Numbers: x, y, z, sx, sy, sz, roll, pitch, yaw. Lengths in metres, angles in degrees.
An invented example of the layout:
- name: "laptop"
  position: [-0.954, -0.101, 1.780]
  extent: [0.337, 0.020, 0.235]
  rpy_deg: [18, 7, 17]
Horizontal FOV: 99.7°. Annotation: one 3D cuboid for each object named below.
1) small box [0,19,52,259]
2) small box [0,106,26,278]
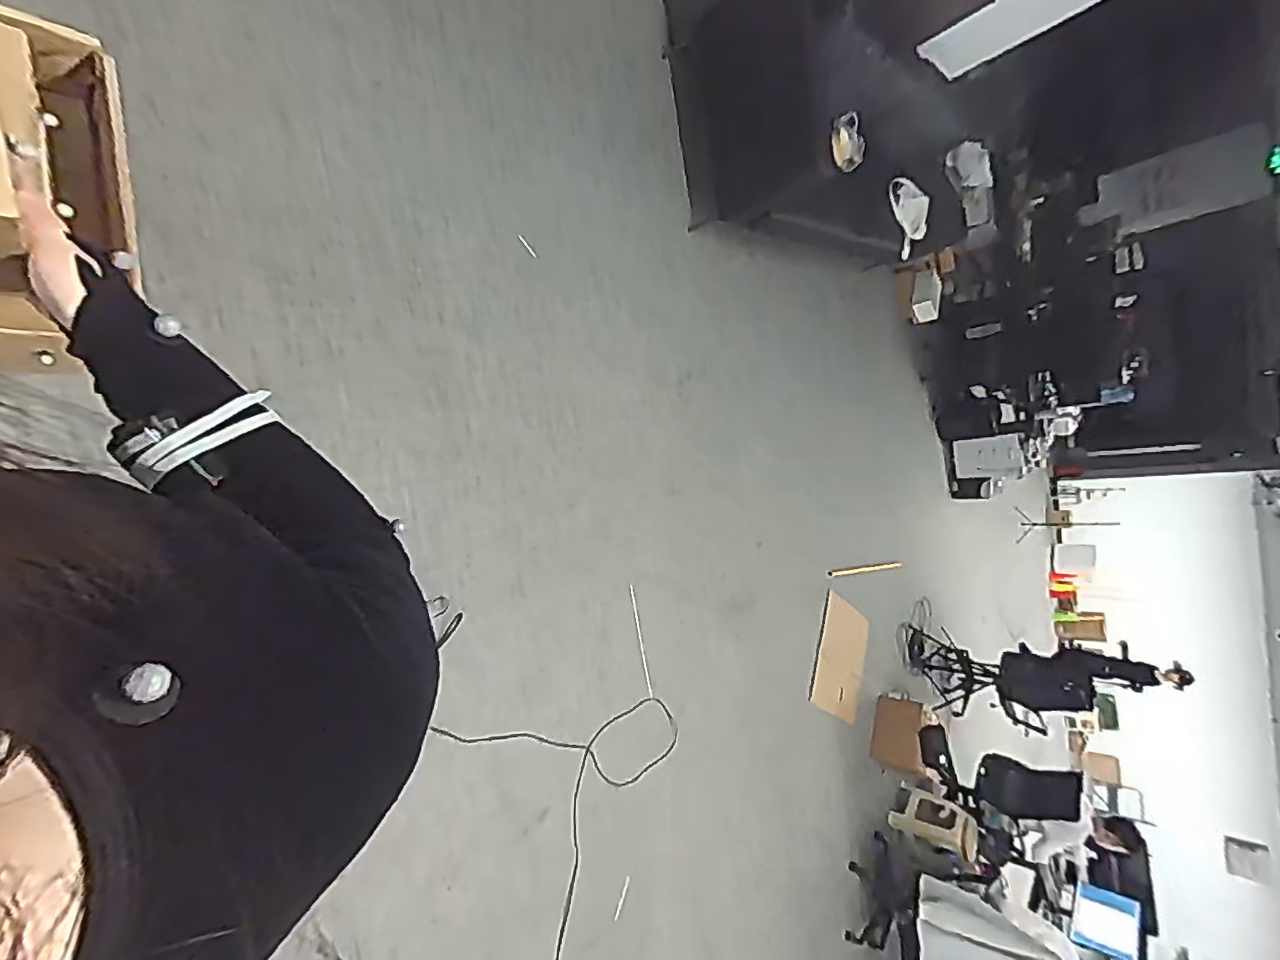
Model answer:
- name: "small box"
  position: [-0.699, -0.343, 0.523]
  extent: [0.168, 0.176, 0.179]
  rpy_deg: [-4, 90, -44]
- name: "small box"
  position: [-0.481, -0.217, 0.296]
  extent: [0.179, 0.176, 0.168]
  rpy_deg: [-12, 97, -44]
